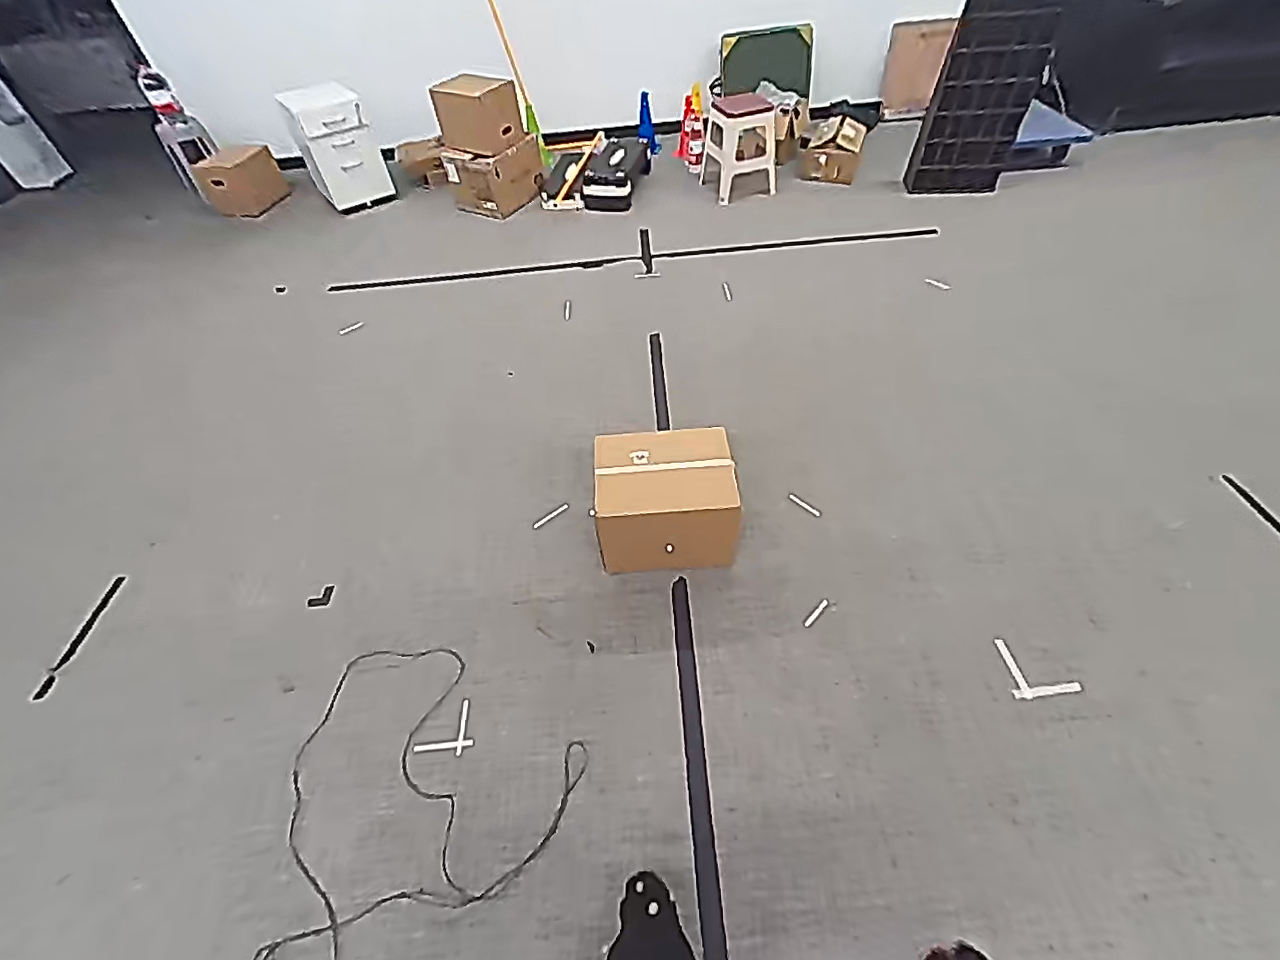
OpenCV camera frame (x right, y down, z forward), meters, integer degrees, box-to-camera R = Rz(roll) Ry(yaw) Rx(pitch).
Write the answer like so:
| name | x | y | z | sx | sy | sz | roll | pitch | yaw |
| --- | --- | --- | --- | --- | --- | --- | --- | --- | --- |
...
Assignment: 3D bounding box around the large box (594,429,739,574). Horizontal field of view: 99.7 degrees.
| name | x | y | z | sx | sy | sz | roll | pitch | yaw |
| --- | --- | --- | --- | --- | --- | --- | --- | --- | --- |
| large box | 0.077 | 0.073 | 1.685 | 0.408 | 0.320 | 0.320 | -5 | 49 | 1 |
